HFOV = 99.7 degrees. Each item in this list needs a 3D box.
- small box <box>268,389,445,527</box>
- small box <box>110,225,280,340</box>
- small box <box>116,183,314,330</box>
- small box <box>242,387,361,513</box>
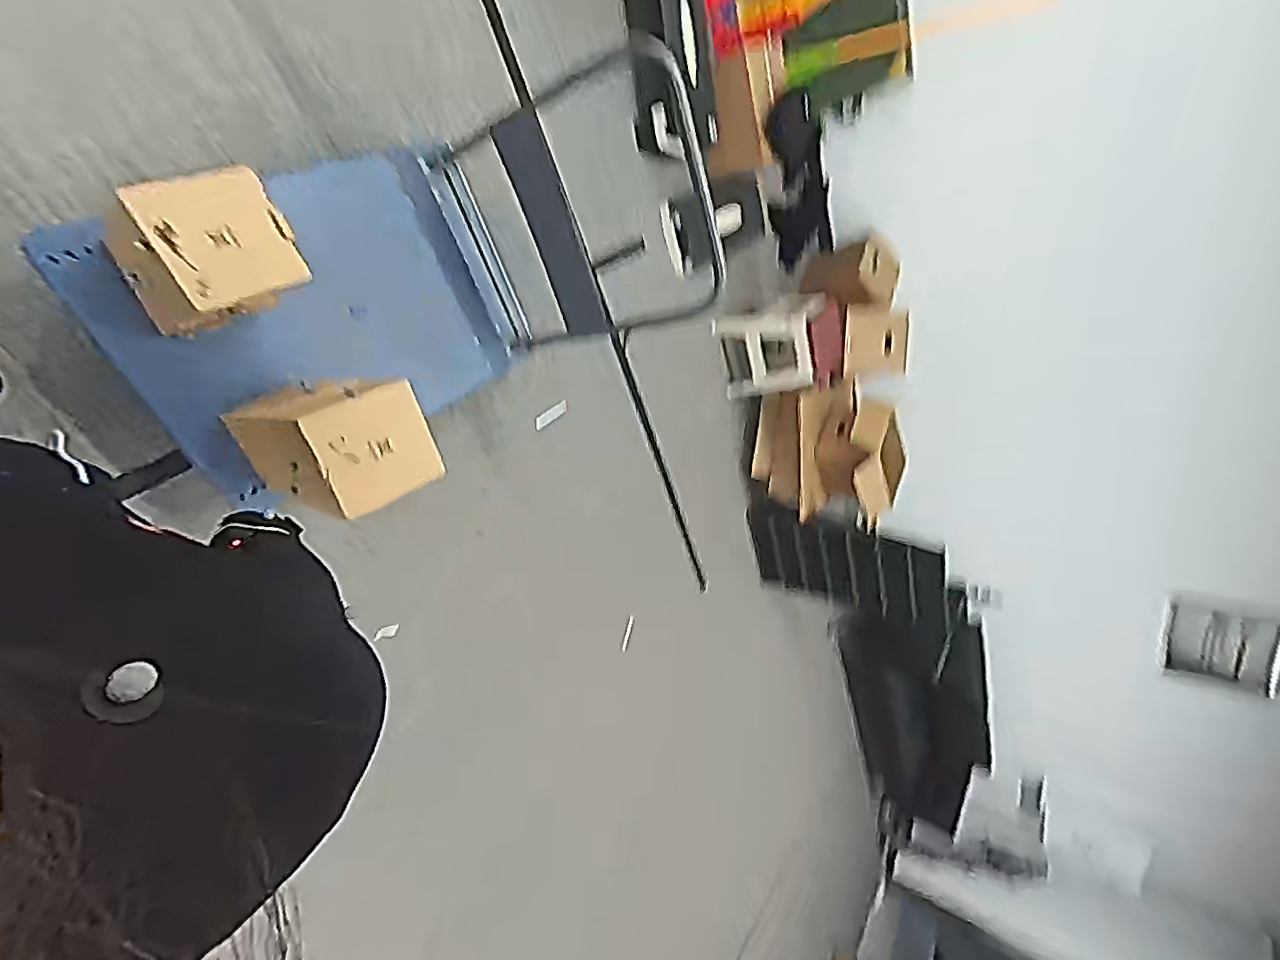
[{"bbox_3d":[-0.461,-0.046,0.887,0.179,0.176,0.168,-35,120,-40],"label":"small box"},{"bbox_3d":[-0.793,-0.359,0.967,0.168,0.176,0.179,-38,121,-39],"label":"small box"},{"bbox_3d":[-0.671,-0.349,0.857,0.179,0.176,0.168,-41,124,-38],"label":"small box"},{"bbox_3d":[-0.587,-0.059,0.993,0.168,0.176,0.179,-37,122,-40],"label":"small box"}]
